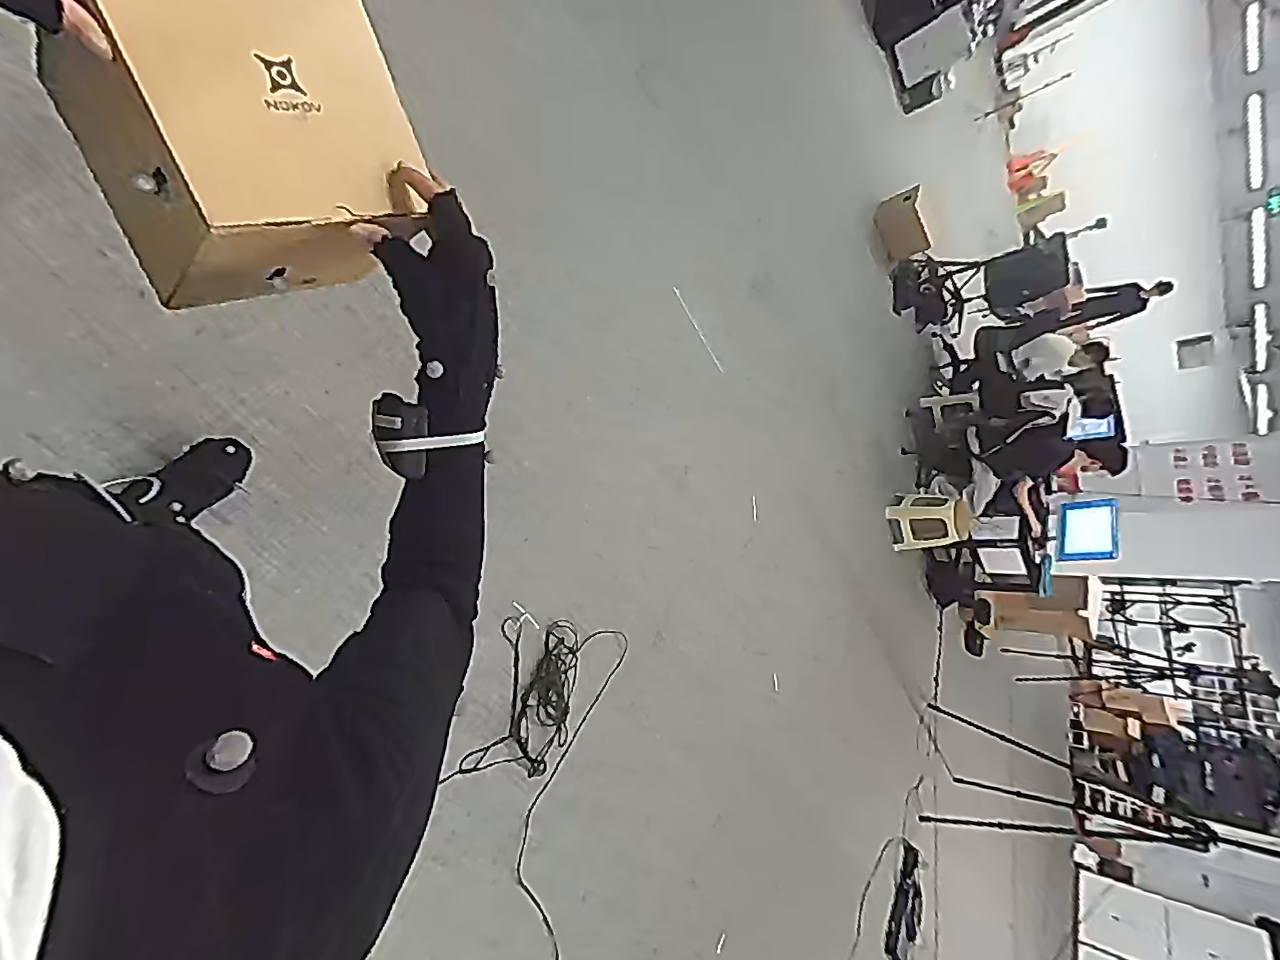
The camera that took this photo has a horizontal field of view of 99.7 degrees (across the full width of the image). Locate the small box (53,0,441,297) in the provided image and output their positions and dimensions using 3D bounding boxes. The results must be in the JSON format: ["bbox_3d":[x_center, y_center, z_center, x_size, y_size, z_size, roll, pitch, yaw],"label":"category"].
[{"bbox_3d":[-0.294,-0.260,0.412,0.168,0.176,0.179,-34,112,-44],"label":"small box"}]
